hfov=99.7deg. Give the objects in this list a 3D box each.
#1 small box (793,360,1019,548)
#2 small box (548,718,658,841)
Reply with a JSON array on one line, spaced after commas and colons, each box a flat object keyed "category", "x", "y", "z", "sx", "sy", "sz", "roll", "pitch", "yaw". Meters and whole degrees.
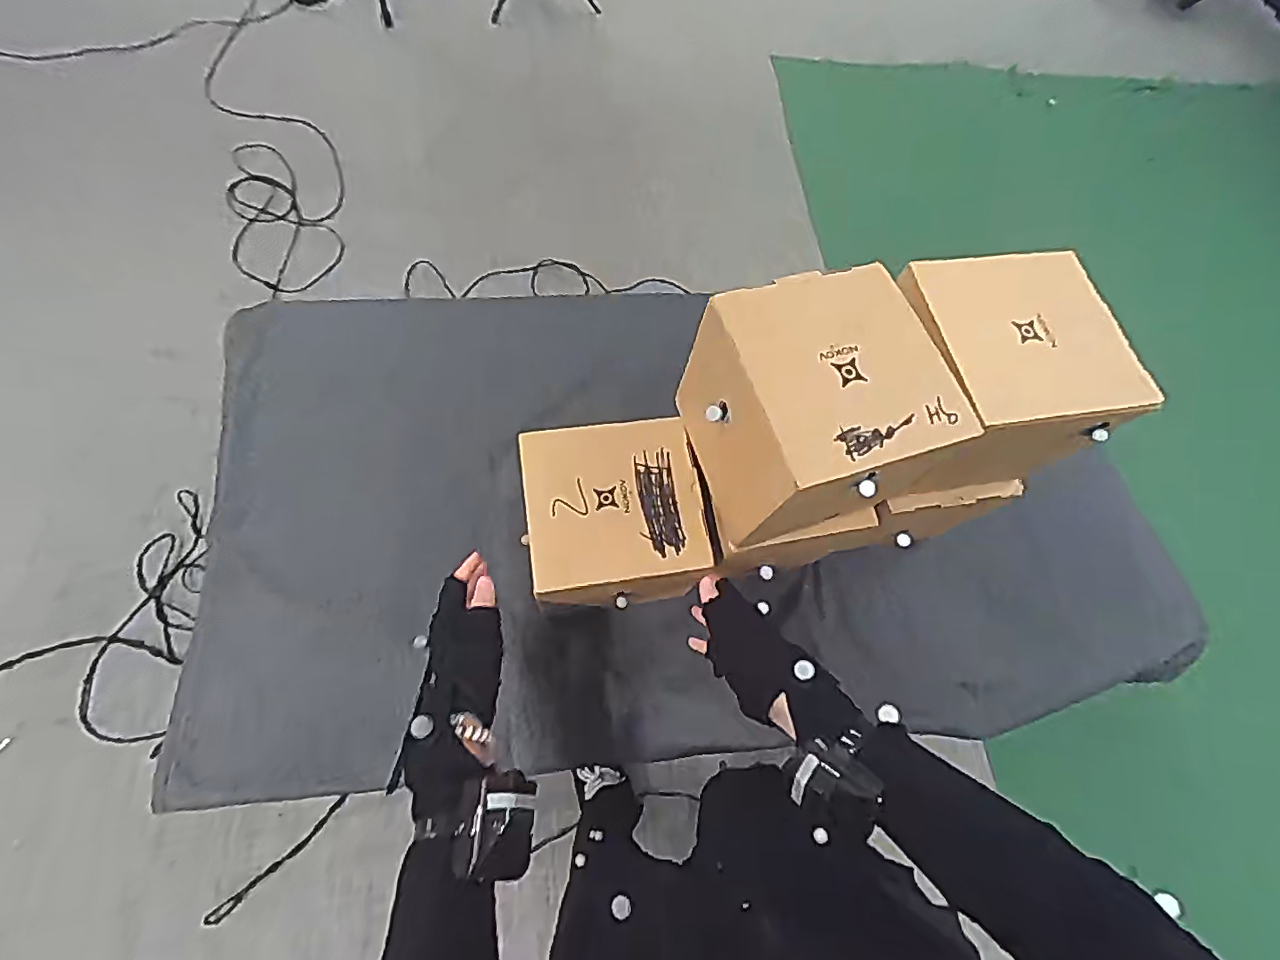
[{"category": "small box", "x": 0.314, "y": -0.028, "z": 0.682, "sx": 0.168, "sy": 0.176, "sz": 0.179, "roll": -7, "pitch": 69, "yaw": -9}, {"category": "small box", "x": -0.081, "y": 0.640, "z": 1.173, "sx": 0.179, "sy": 0.176, "sz": 0.168, "roll": 17, "pitch": 78, "yaw": 19}]
